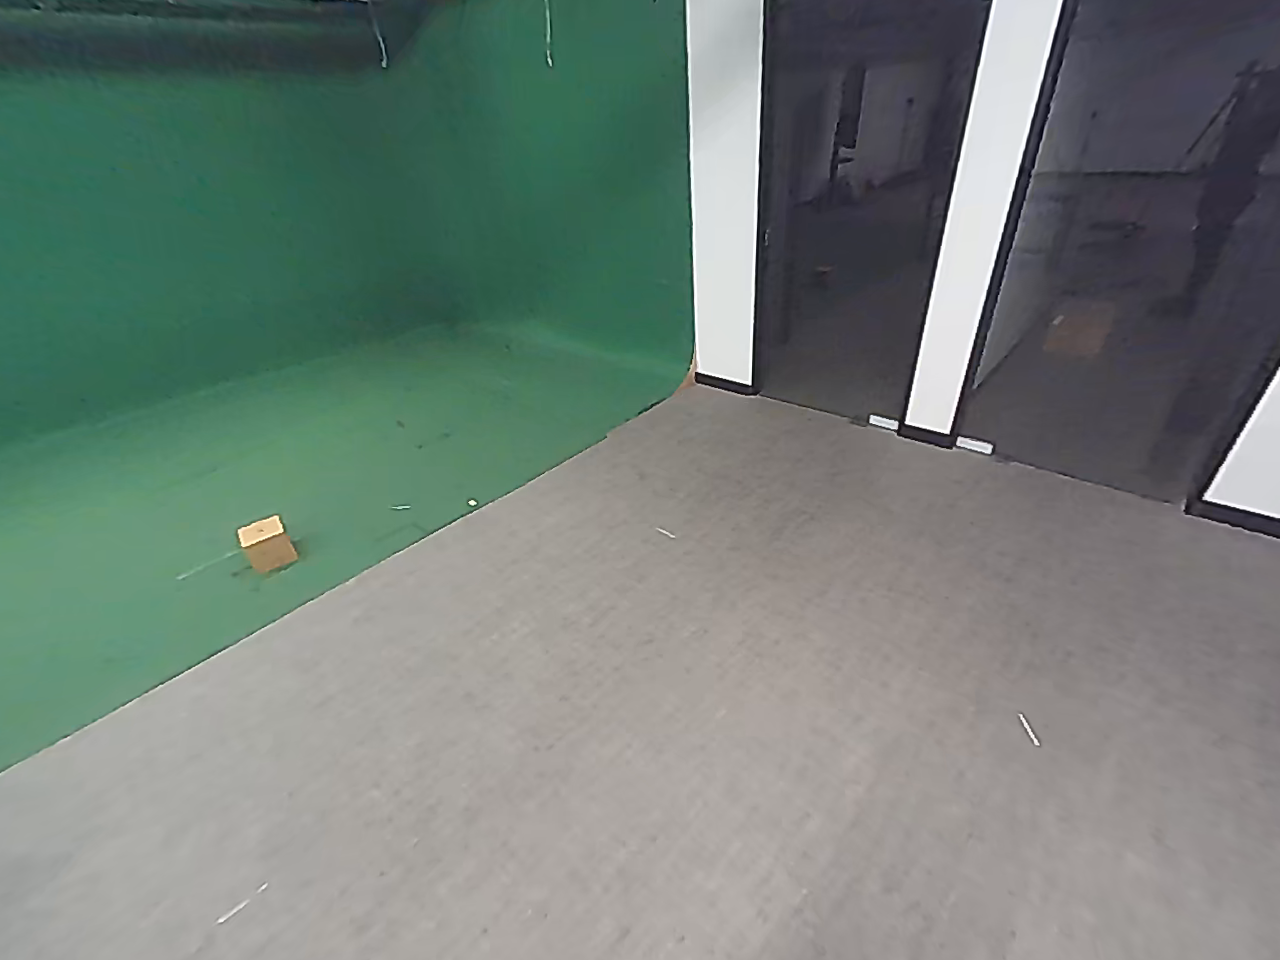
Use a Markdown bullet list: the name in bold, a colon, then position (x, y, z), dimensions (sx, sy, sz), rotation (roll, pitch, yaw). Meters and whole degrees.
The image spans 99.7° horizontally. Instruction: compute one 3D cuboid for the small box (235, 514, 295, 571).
- **small box**: position (-1.694, 0.287, 2.444), dimensions (0.168, 0.176, 0.179), rotation (-27, 39, -31)
